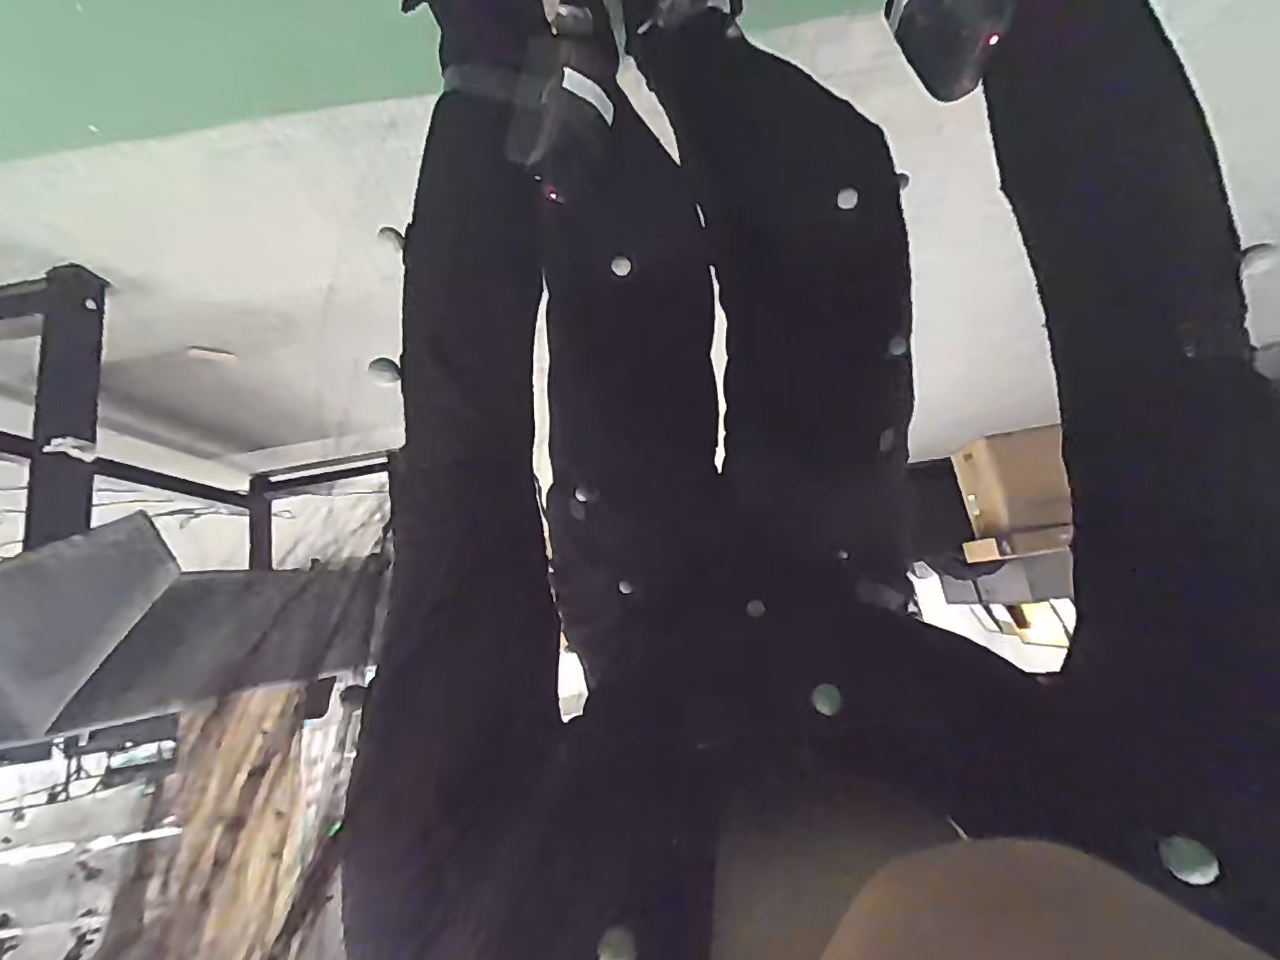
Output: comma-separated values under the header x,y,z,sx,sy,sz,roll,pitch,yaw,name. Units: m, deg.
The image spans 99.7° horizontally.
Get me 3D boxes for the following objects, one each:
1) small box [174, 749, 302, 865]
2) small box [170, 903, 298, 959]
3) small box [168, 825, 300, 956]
x,y,z,sx,sy,sz,roll,pitch,yaw,name
-0.907,0.732,1.231,0.168,0.176,0.179,-10,166,2,small box
-0.865,1.051,1.161,0.168,0.176,0.179,-10,166,1,small box
-0.887,0.891,1.194,0.168,0.176,0.179,-9,166,0,small box
